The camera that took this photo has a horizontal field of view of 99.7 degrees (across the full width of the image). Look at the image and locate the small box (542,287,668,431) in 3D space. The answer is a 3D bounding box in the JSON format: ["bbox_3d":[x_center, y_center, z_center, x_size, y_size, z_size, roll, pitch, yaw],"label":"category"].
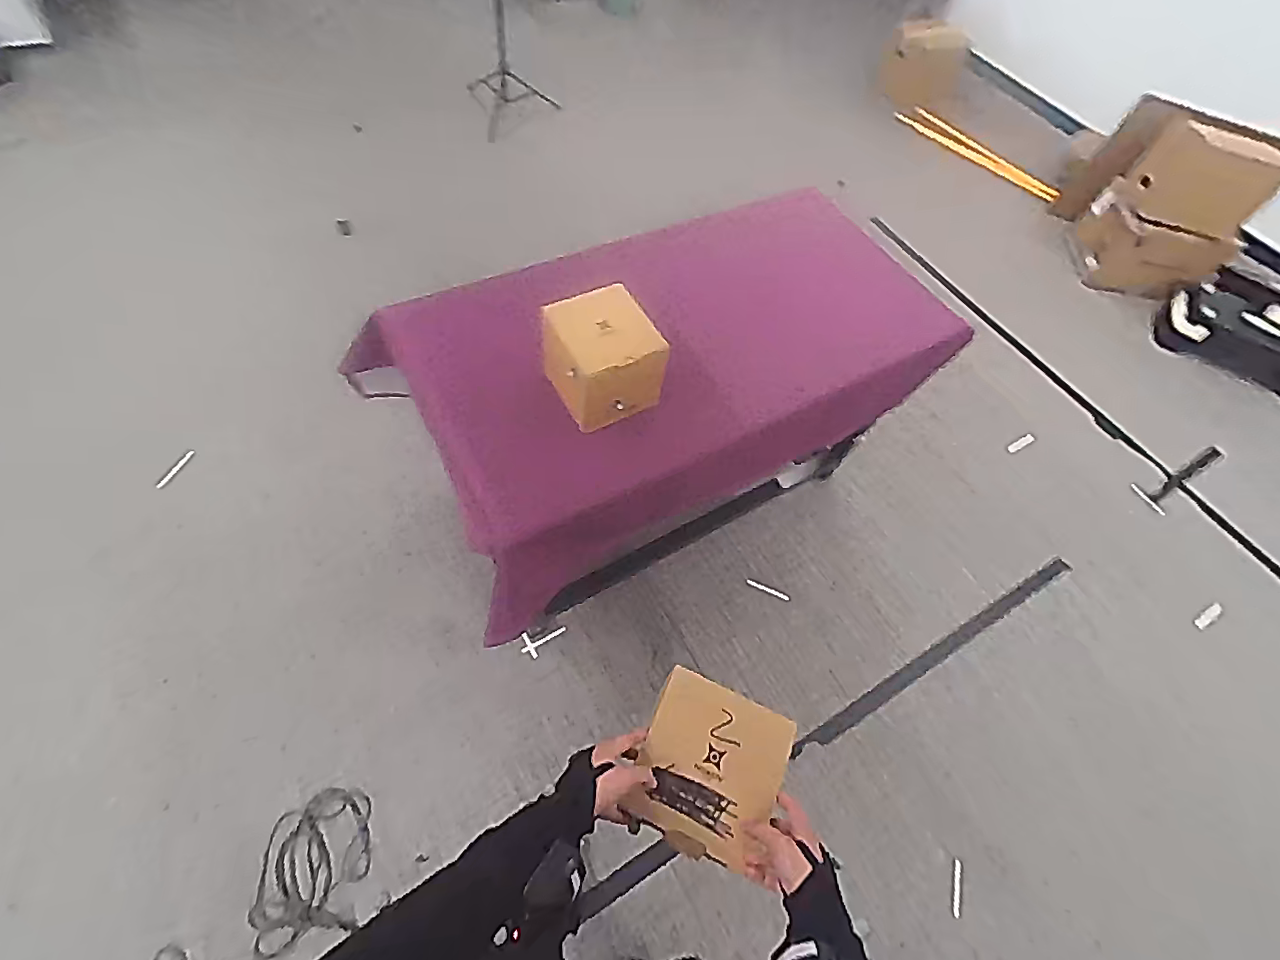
[{"bbox_3d":[-0.073,-0.224,1.015,0.168,0.176,0.179,-25,67,-21],"label":"small box"}]
